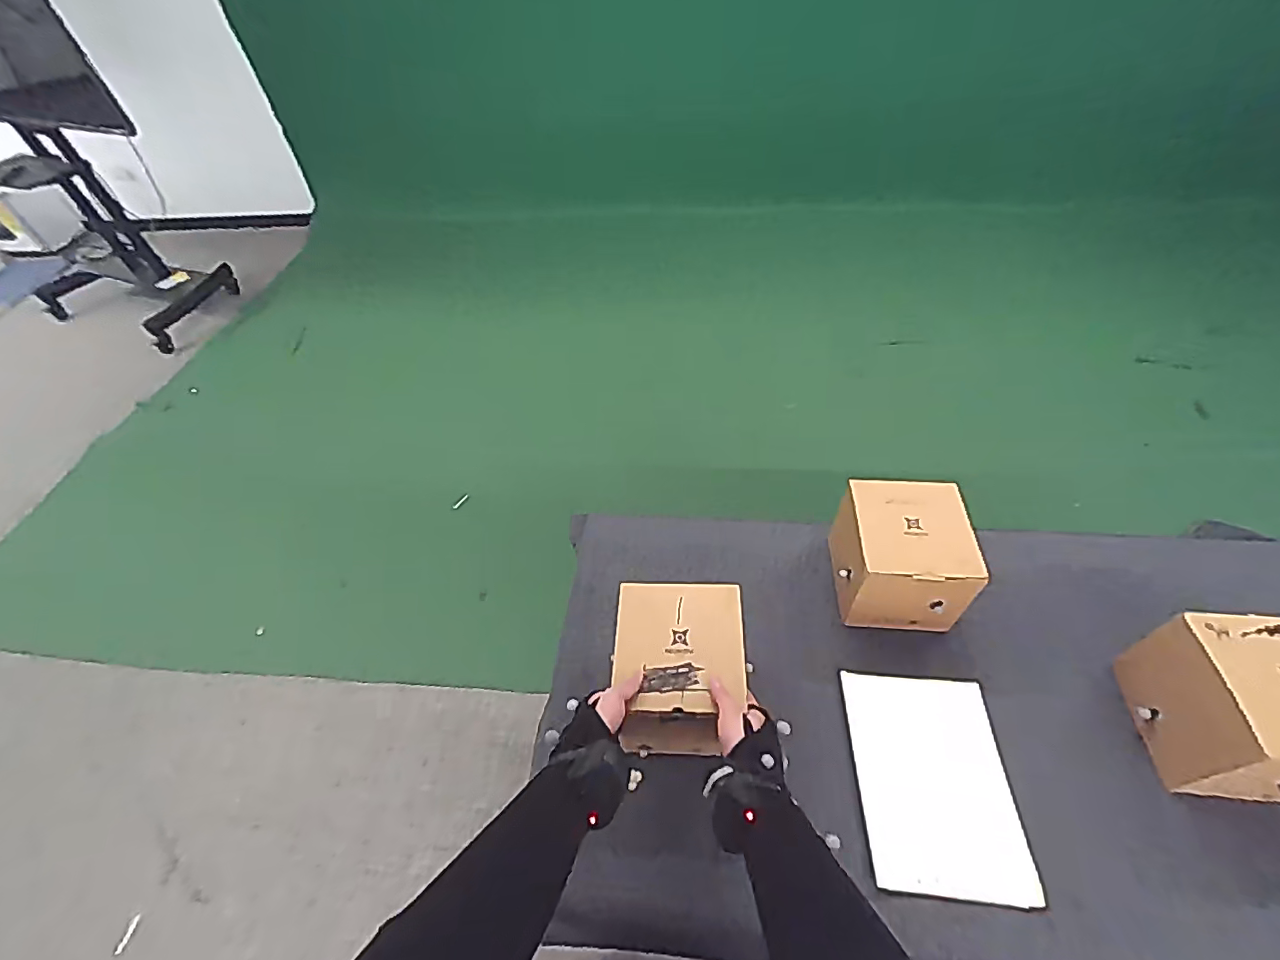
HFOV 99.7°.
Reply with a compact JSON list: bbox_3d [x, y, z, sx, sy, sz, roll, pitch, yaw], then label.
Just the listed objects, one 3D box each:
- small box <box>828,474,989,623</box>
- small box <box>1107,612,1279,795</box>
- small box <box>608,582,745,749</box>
[{"bbox_3d":[0.408,0.111,0.856,0.168,0.176,0.179,2,49,5],"label":"small box"},{"bbox_3d":[0.767,0.290,0.694,0.168,0.176,0.179,2,51,6],"label":"small box"},{"bbox_3d":[0.055,0.260,0.749,0.168,0.176,0.179,0,49,5],"label":"small box"}]
